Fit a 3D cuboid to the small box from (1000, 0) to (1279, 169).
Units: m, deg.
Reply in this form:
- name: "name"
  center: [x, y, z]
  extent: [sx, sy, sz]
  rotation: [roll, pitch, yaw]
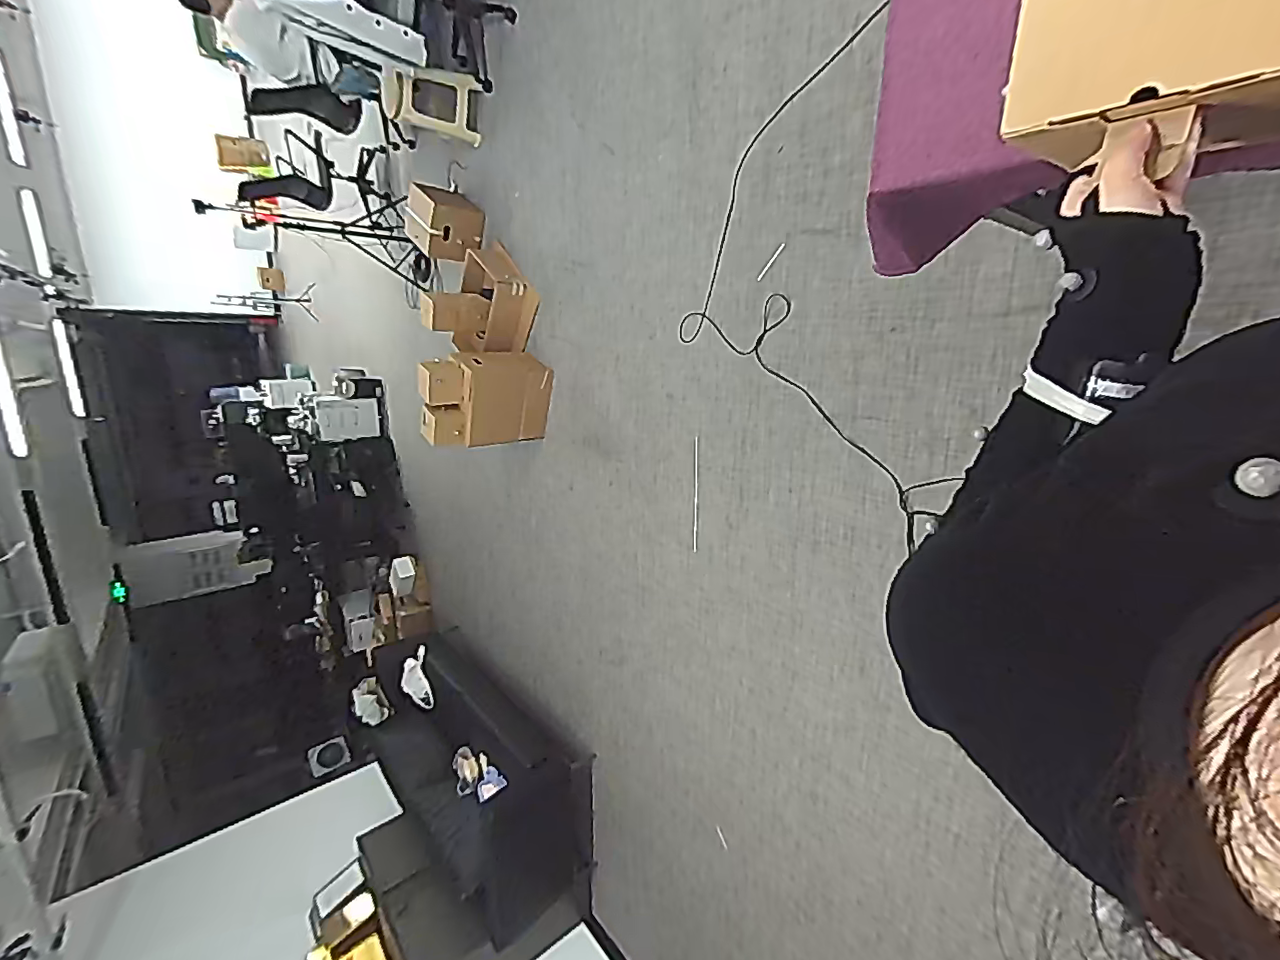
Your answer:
- name: "small box"
  center: [0.395, -0.347, 0.387]
  extent: [0.168, 0.176, 0.179]
  rotation: [20, 117, 49]
